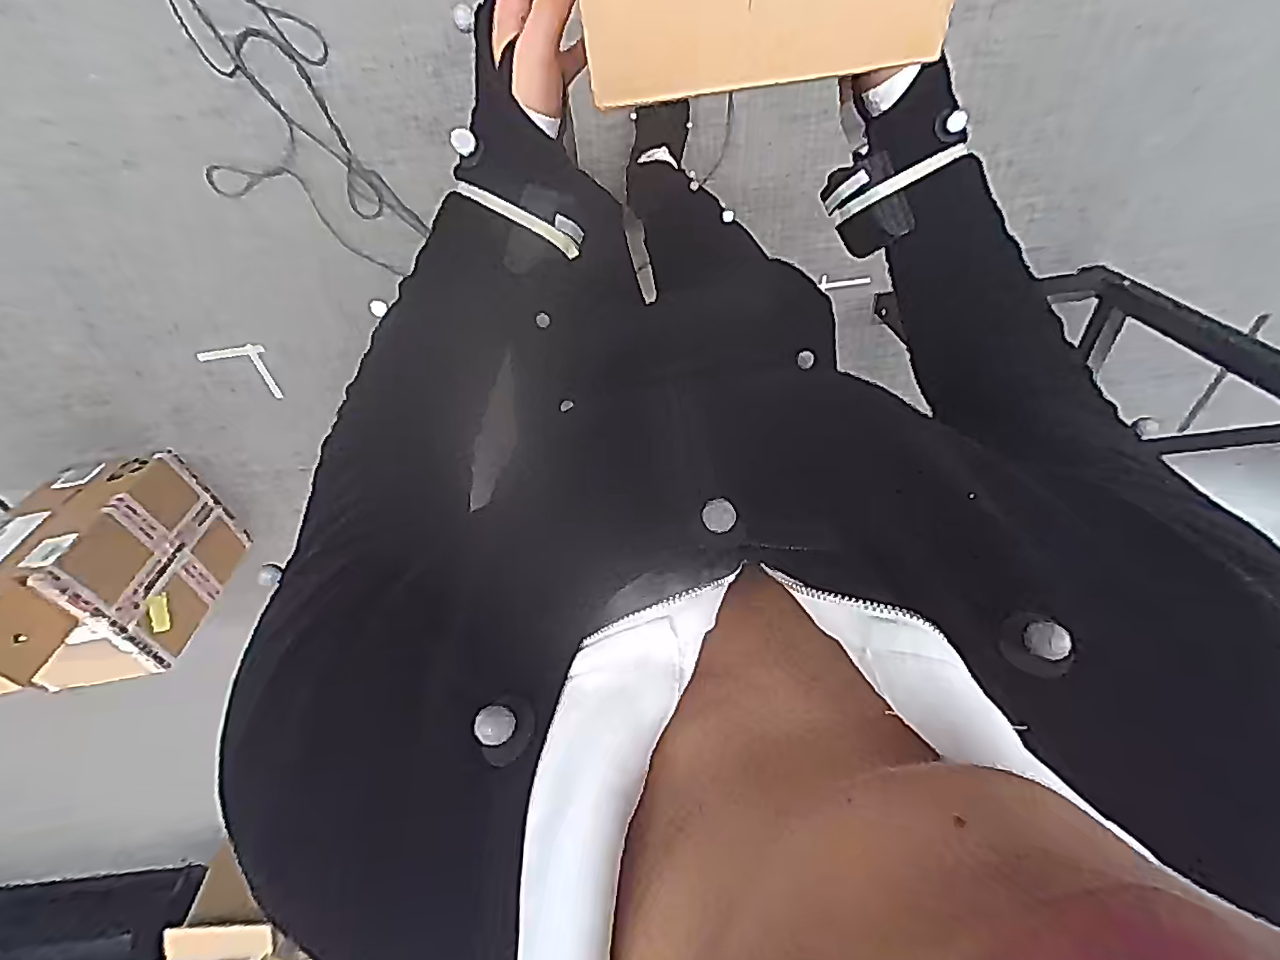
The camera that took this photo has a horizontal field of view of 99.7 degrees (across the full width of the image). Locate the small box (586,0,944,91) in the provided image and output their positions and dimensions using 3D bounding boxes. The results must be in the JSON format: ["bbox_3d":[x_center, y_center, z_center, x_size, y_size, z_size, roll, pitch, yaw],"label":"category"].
[{"bbox_3d":[0.047,-0.317,0.258,0.168,0.176,0.179,-6,136,4],"label":"small box"}]

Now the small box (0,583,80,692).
[{"bbox_3d":[-1.406,0.341,1.168,0.168,0.176,0.179,-13,129,3],"label":"small box"}]
